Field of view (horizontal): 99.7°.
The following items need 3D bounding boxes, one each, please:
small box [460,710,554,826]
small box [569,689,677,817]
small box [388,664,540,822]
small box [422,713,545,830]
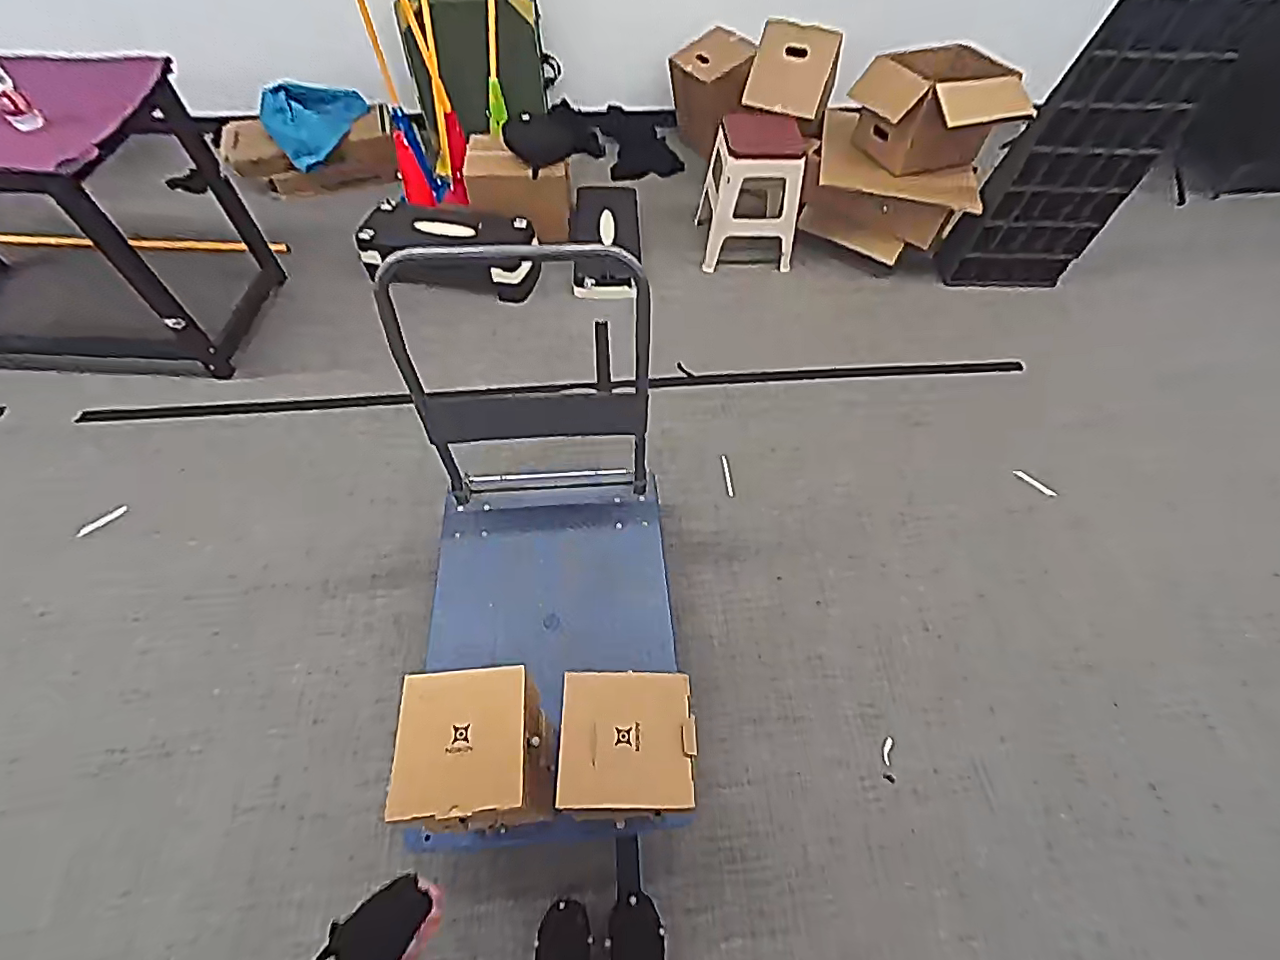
[{"bbox_3d":[-0.257,0.559,1.046,0.168,0.176,0.179,-3,57,-5],"label":"small box"},{"bbox_3d":[-0.031,0.467,0.920,0.168,0.176,0.179,-1,58,-3],"label":"small box"},{"bbox_3d":[-0.236,0.378,0.773,0.168,0.176,0.179,-3,57,-5],"label":"small box"},{"bbox_3d":[-0.251,0.471,0.907,0.168,0.176,0.179,-5,58,-6],"label":"small box"}]
